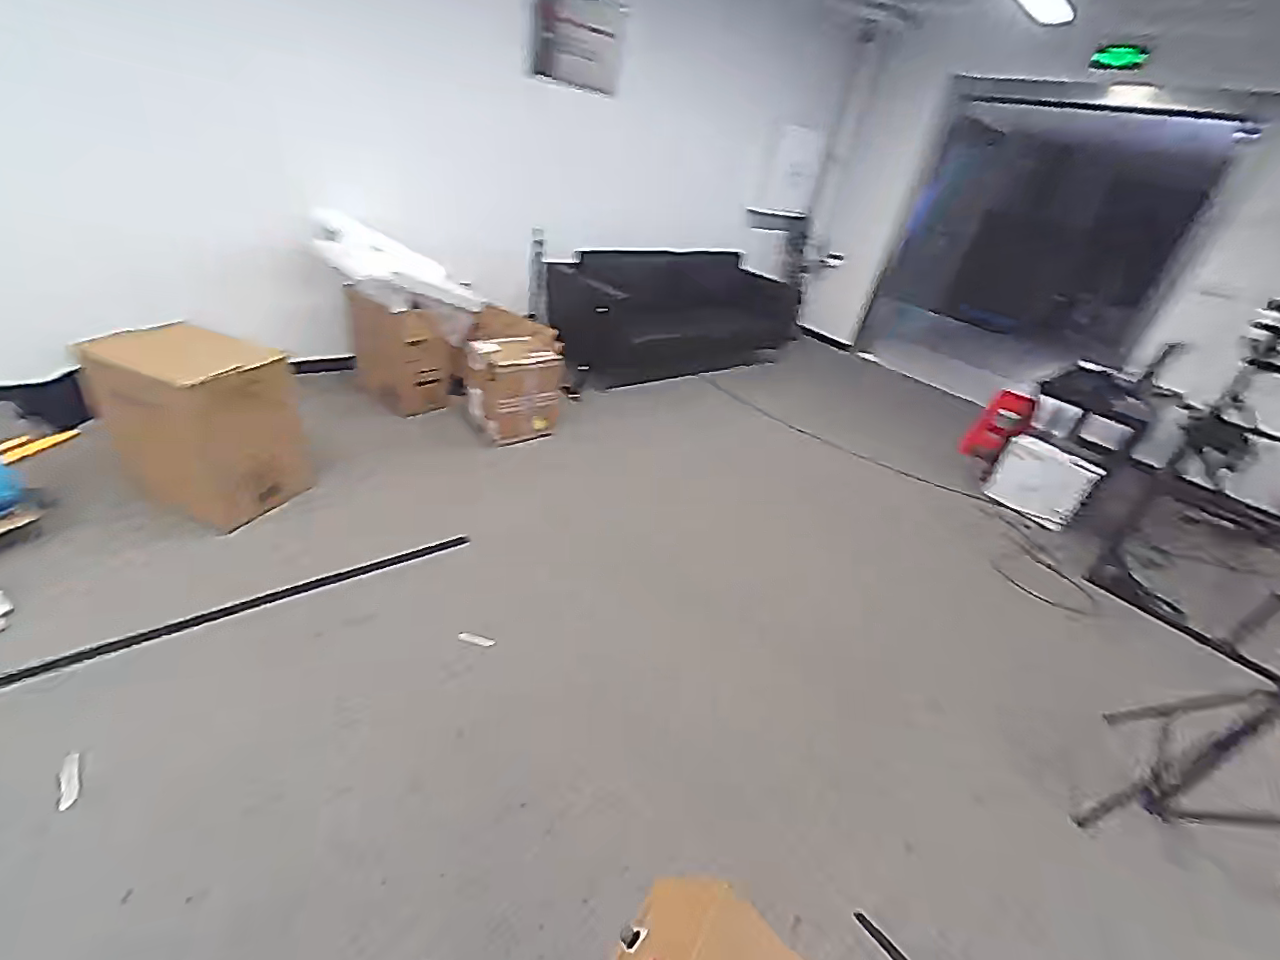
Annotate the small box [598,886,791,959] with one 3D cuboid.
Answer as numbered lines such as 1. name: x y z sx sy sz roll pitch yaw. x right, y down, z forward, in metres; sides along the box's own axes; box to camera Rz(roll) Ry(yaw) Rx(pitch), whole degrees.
1. small box: 0.056 0.525 0.516 0.179 0.176 0.168 43 49 5
